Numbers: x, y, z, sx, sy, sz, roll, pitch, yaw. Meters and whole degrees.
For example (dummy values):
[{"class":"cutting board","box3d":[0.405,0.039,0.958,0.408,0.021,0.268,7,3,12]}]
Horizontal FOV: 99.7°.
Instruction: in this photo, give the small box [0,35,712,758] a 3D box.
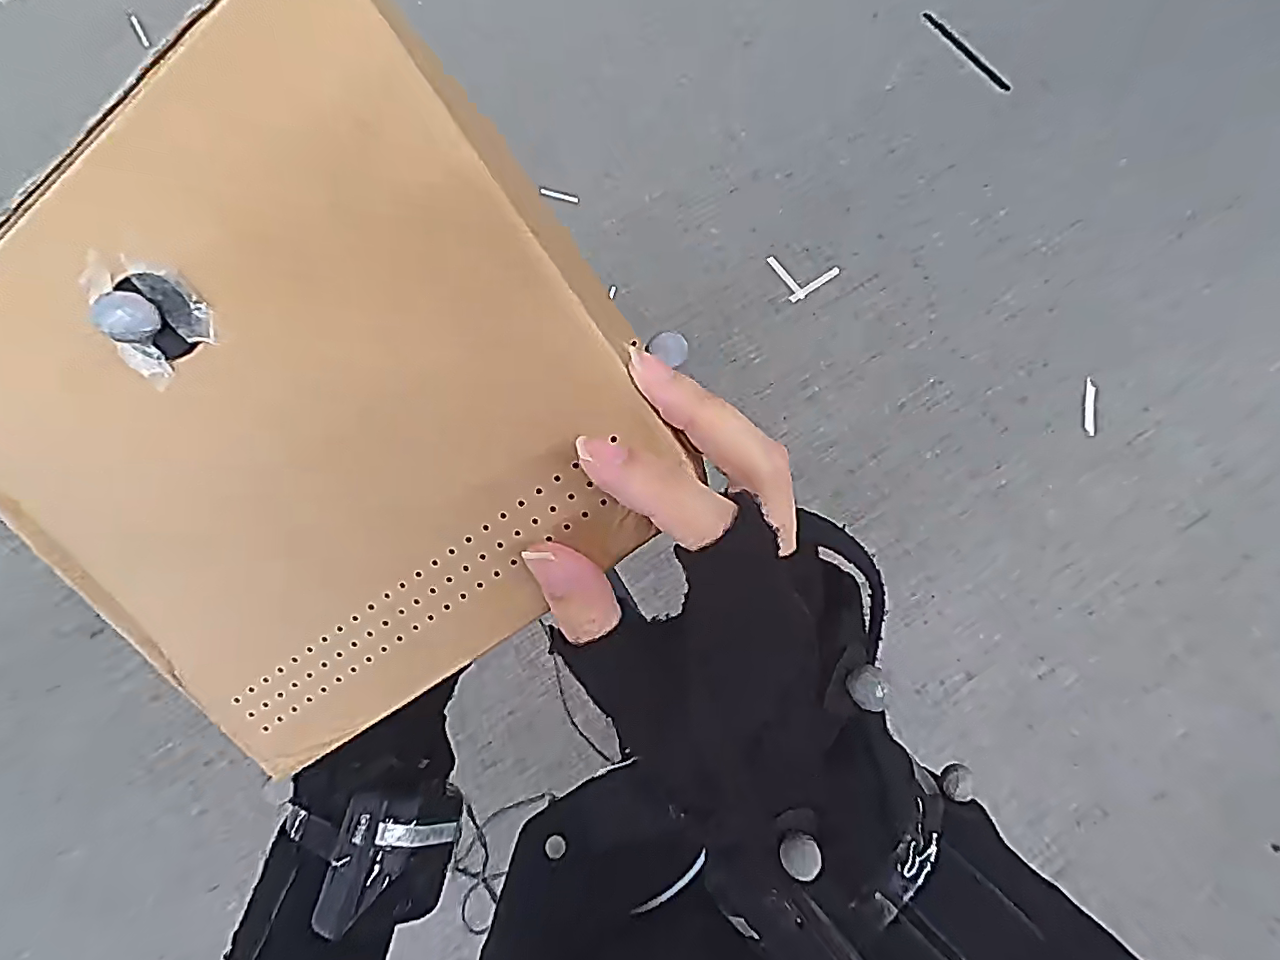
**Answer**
[{"class":"small box","box3d":[-0.089,-0.020,0.241,0.179,0.168,0.176,-34,102,11]}]
